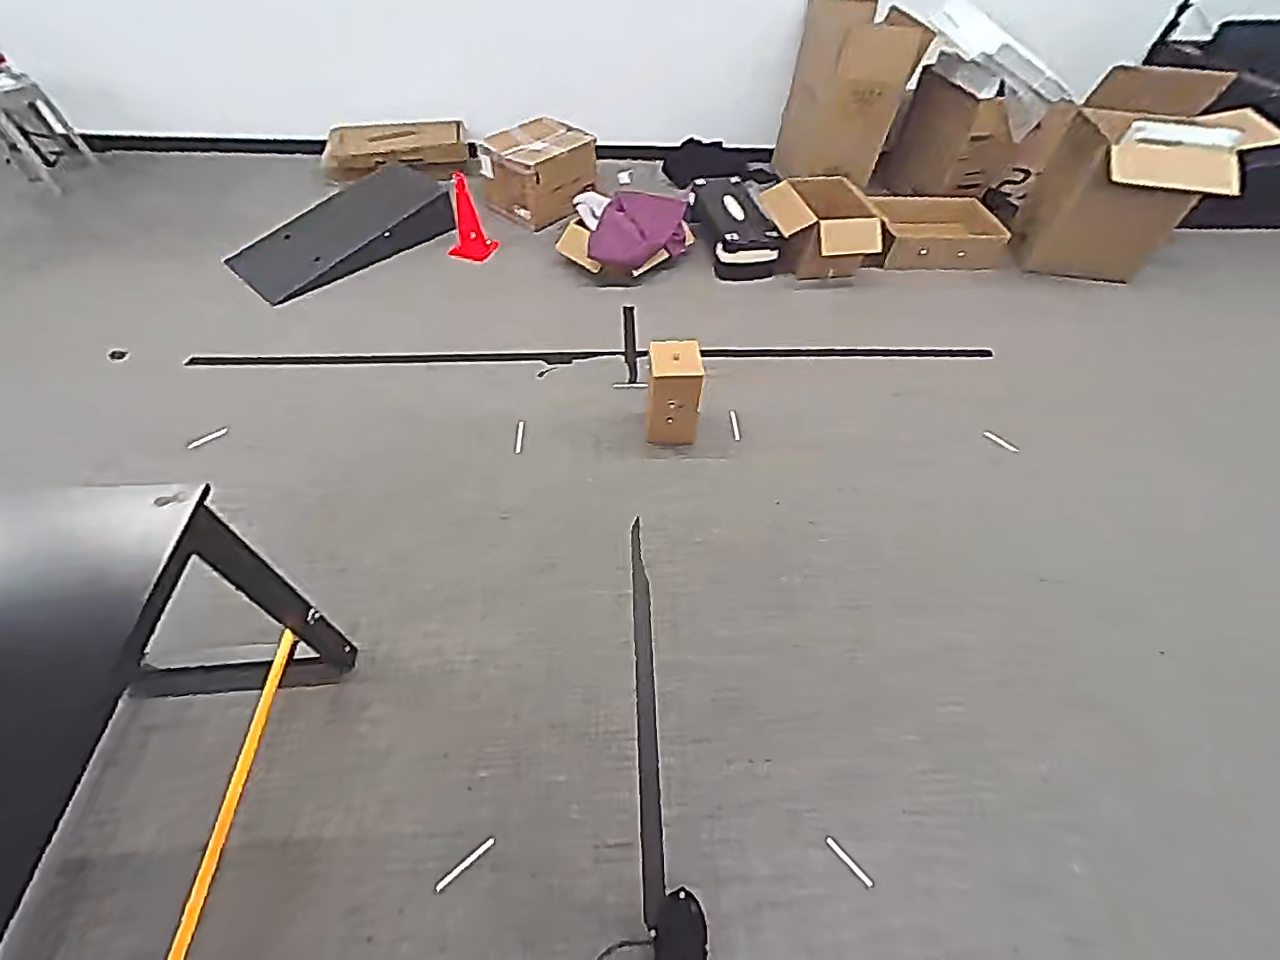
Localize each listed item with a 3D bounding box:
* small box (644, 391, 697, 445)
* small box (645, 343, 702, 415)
[{"bbox_3d":[0.106,-0.242,1.964,0.179,0.176,0.168,2,53,-3],"label":"small box"},{"bbox_3d":[0.107,-0.342,1.836,0.168,0.176,0.179,-3,54,-4],"label":"small box"}]
